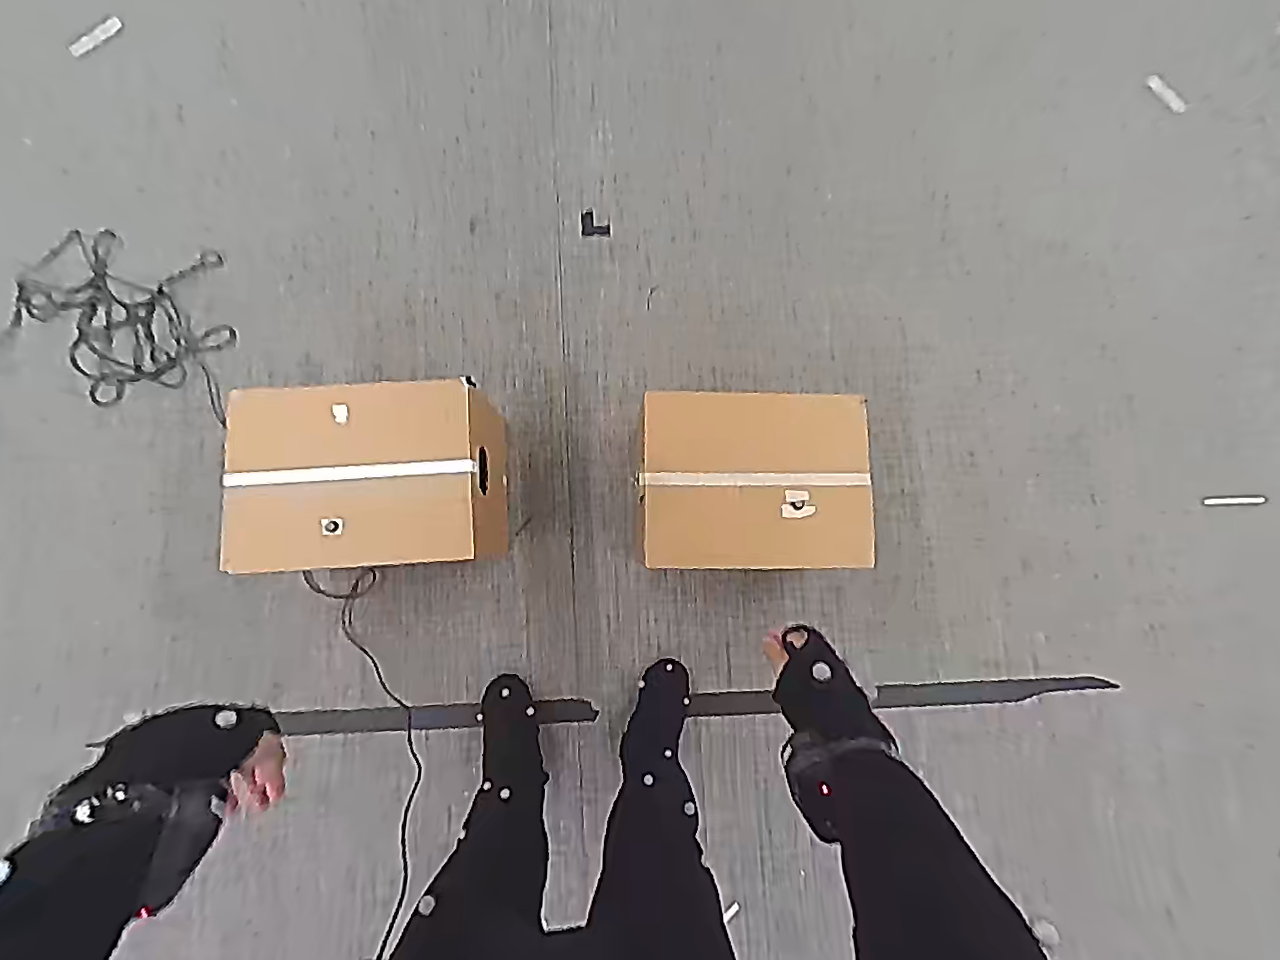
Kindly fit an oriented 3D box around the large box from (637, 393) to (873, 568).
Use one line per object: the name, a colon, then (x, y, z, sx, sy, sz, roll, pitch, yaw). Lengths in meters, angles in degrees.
large box: (0.203, 0.016, 1.107, 0.408, 0.320, 0.320, 1, 83, -4)
